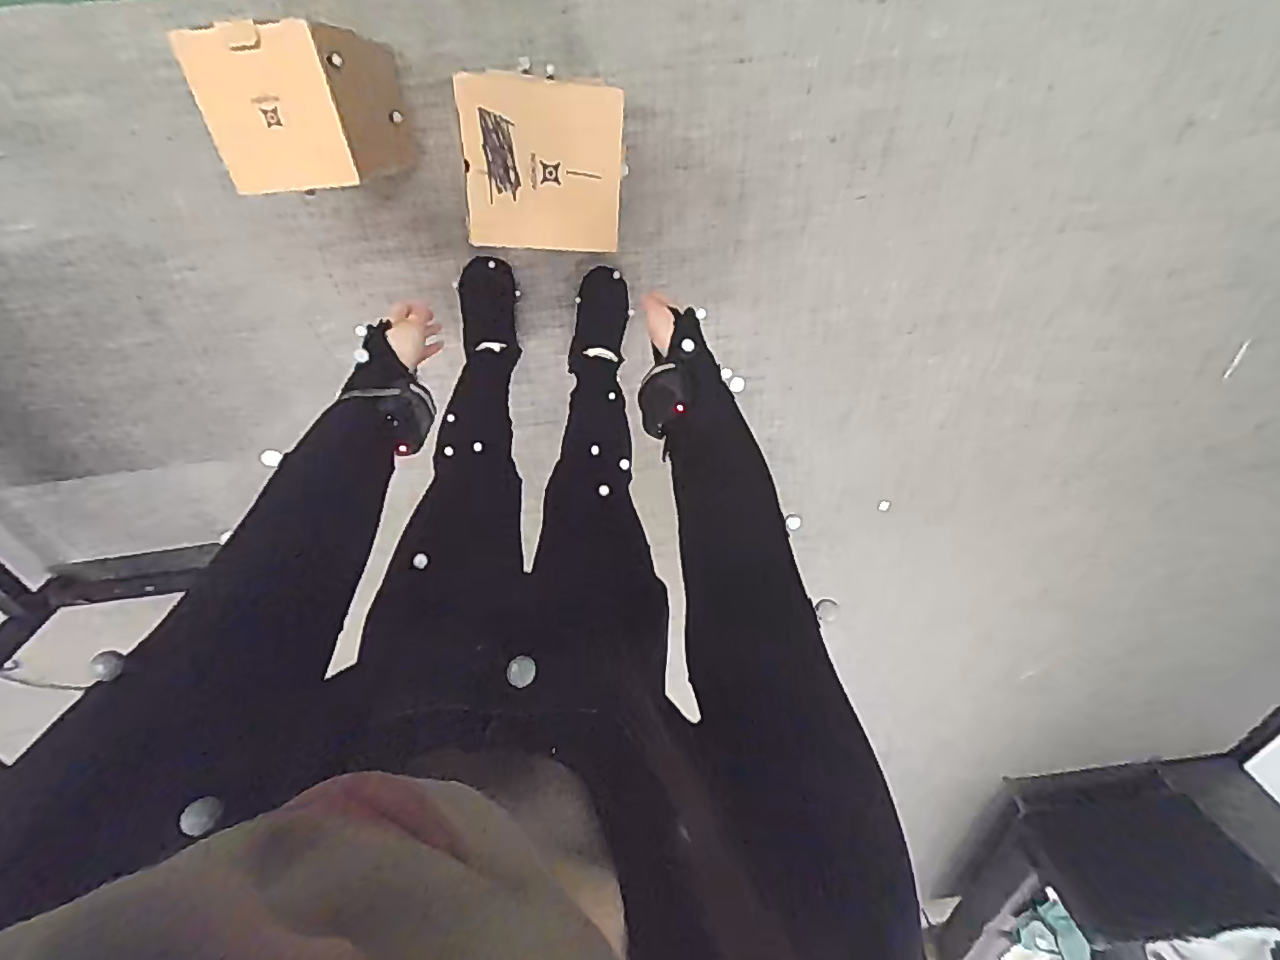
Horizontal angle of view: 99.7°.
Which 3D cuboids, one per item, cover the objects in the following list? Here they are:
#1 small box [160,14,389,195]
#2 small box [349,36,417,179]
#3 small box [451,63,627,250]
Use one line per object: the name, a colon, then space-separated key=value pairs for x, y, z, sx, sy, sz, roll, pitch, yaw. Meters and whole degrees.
small box: x=-0.466 y=-0.502 z=0.731 sx=0.168 sy=0.176 sz=0.179 roll=-7 pitch=125 yaw=-1
small box: x=-0.480 y=-0.593 z=0.866 sx=0.168 sy=0.176 sz=0.179 roll=-8 pitch=128 yaw=-1
small box: x=-0.113 y=-0.387 z=0.649 sx=0.179 sy=0.176 sz=0.168 roll=0 pitch=127 yaw=-7
